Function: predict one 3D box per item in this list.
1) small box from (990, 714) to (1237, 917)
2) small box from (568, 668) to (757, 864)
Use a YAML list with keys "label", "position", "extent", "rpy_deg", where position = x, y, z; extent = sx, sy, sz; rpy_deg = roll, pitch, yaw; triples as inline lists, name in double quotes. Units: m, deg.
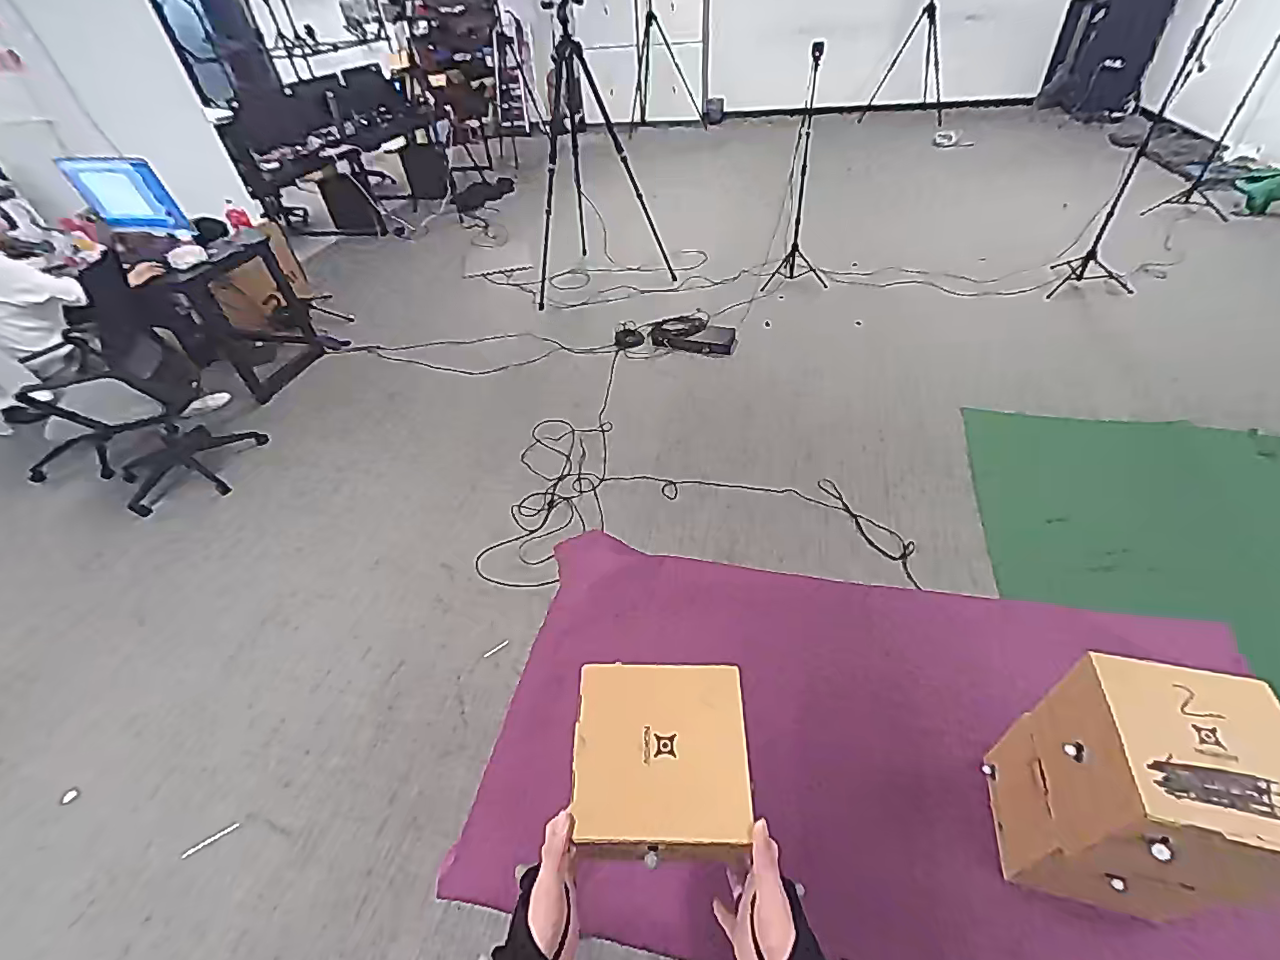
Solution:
- label: "small box"
  position: [0.588, 0.440, 0.710]
  extent: [0.179, 0.176, 0.168]
  rpy_deg: [8, 44, 14]
- label: "small box"
  position: [0.023, 0.322, 0.605]
  extent: [0.179, 0.176, 0.168]
  rpy_deg: [-1, 50, 1]
